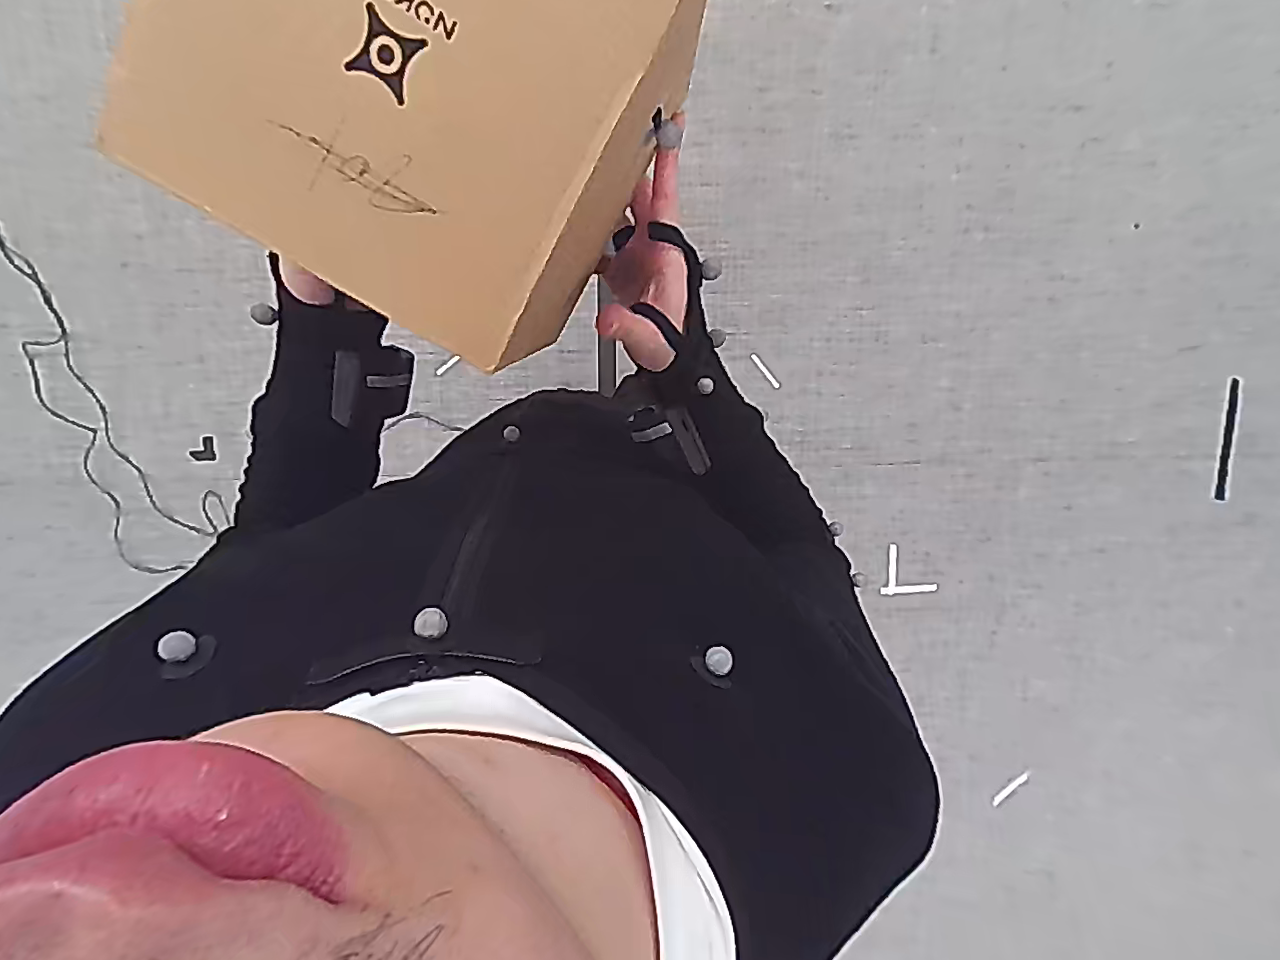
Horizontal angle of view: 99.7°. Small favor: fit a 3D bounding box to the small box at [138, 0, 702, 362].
[{"bbox_3d":[-0.087,-0.186,0.281,0.168,0.176,0.179,29,106,-8],"label":"small box"}]
